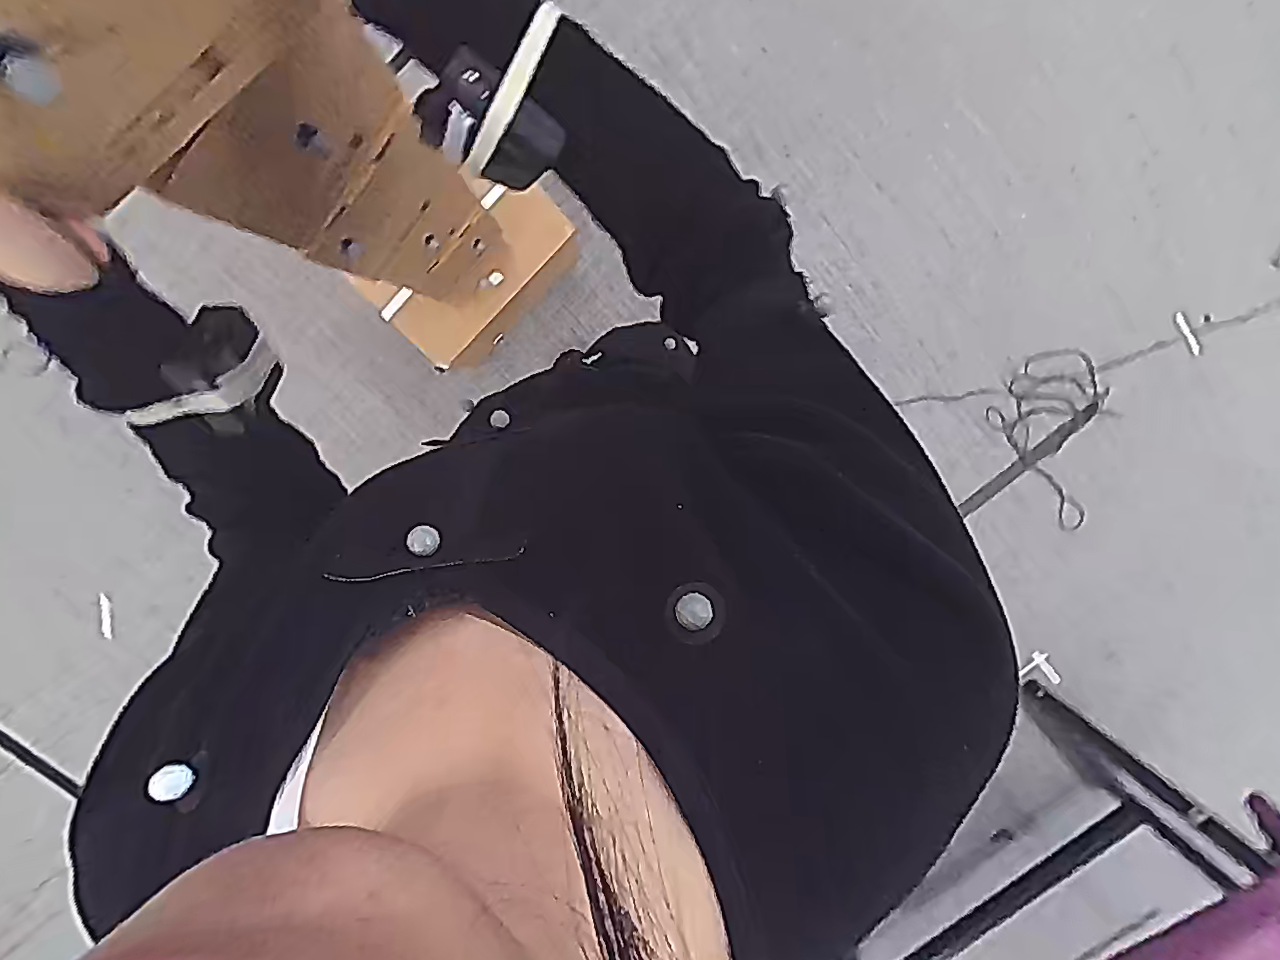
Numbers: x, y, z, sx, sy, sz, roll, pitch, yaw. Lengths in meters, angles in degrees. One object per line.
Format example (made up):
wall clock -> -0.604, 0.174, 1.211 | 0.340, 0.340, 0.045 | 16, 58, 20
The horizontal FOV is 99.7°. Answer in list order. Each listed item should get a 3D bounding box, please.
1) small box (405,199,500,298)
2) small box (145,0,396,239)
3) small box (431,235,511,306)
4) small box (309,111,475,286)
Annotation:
small box -> -0.344, -0.405, 0.845 | 0.179, 0.176, 0.168 | 43, 95, -12
small box -> -0.302, -0.291, 0.367 | 0.179, 0.176, 0.168 | 35, 97, -13
small box -> -0.364, -0.442, 1.002 | 0.168, 0.176, 0.179 | -44, 103, 6
small box -> -0.335, -0.367, 0.685 | 0.179, 0.176, 0.168 | 39, 96, -12
